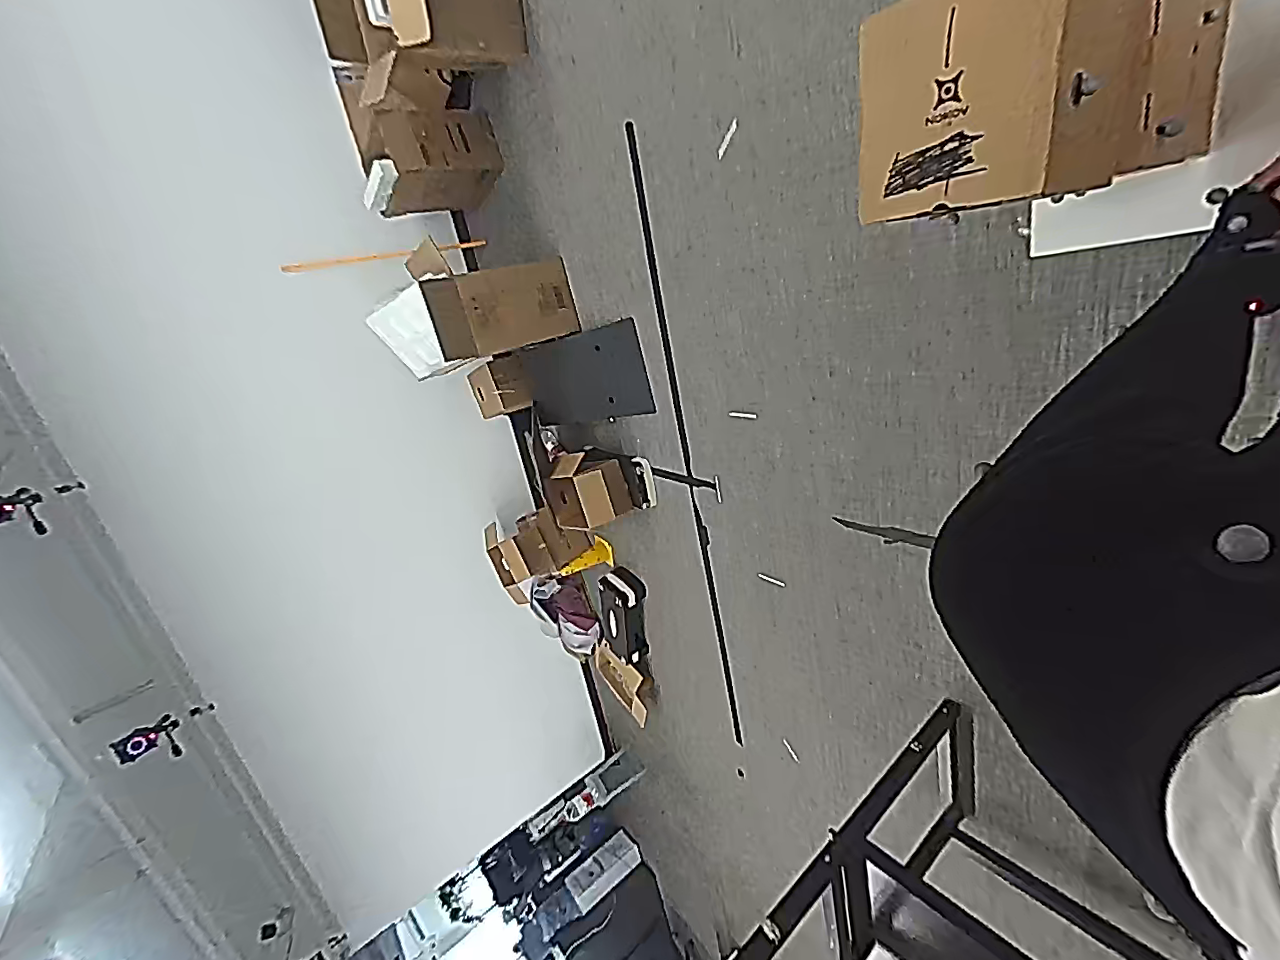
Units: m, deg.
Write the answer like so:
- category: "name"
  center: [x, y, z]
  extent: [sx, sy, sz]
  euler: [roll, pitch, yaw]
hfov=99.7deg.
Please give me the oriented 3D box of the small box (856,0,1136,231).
- category: "small box"
  center: [0.326, -0.347, 0.508]
  extent: [0.168, 0.176, 0.179]
  euler: [20, 125, 50]

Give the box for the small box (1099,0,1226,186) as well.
- category: "small box"
  center: [0.586, -0.465, 0.673]
  extent: [0.168, 0.176, 0.179]
  euler: [15, 122, 51]
